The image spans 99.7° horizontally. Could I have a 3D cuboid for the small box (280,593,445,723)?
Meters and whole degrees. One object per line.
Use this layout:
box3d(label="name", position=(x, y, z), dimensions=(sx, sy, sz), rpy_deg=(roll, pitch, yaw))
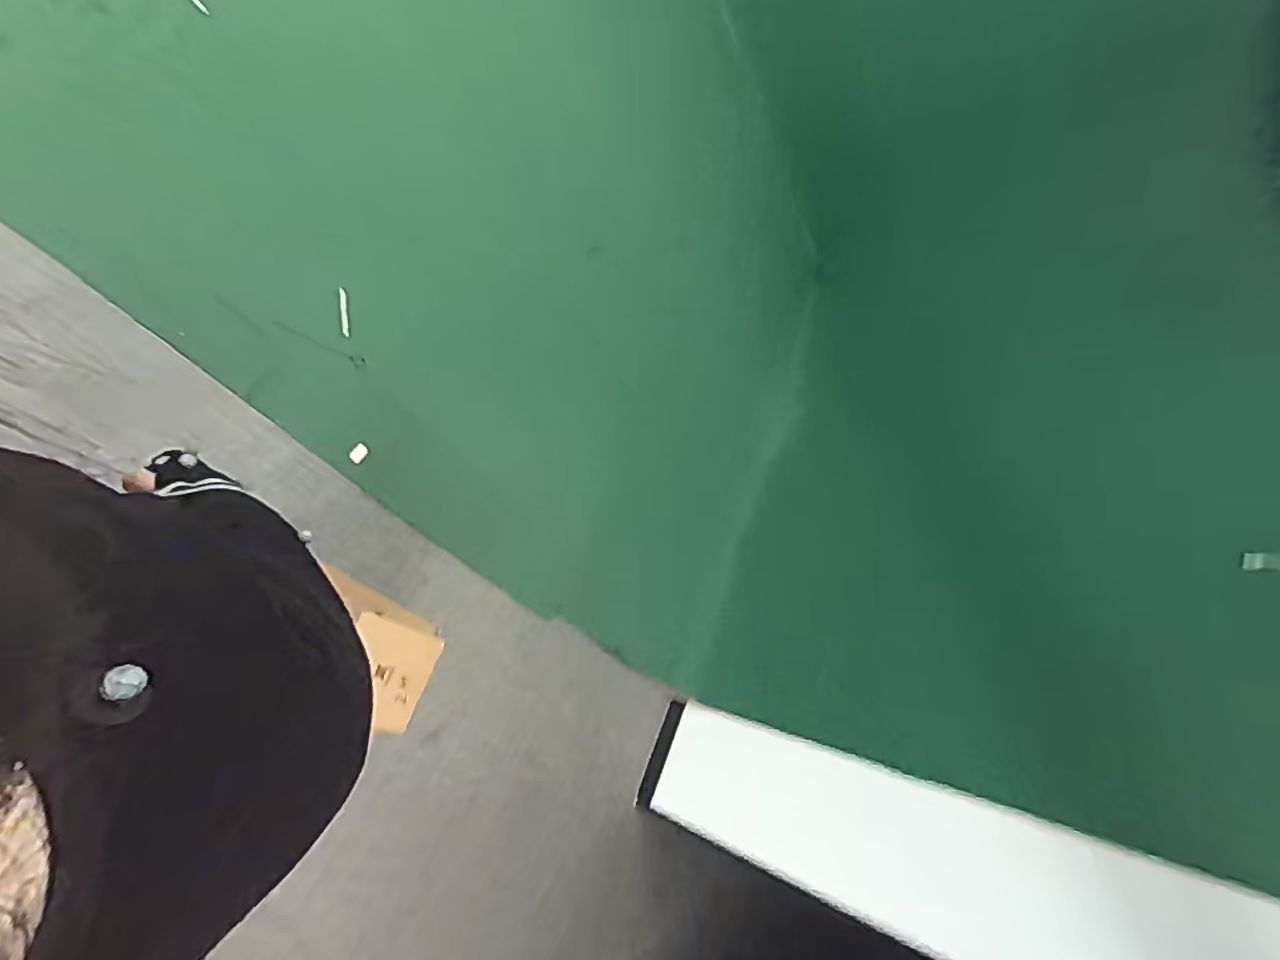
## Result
box3d(label="small box", position=(-0.498, 0.313, 0.972), dimensions=(0.179, 0.176, 0.168), rpy_deg=(44, 60, -43))
